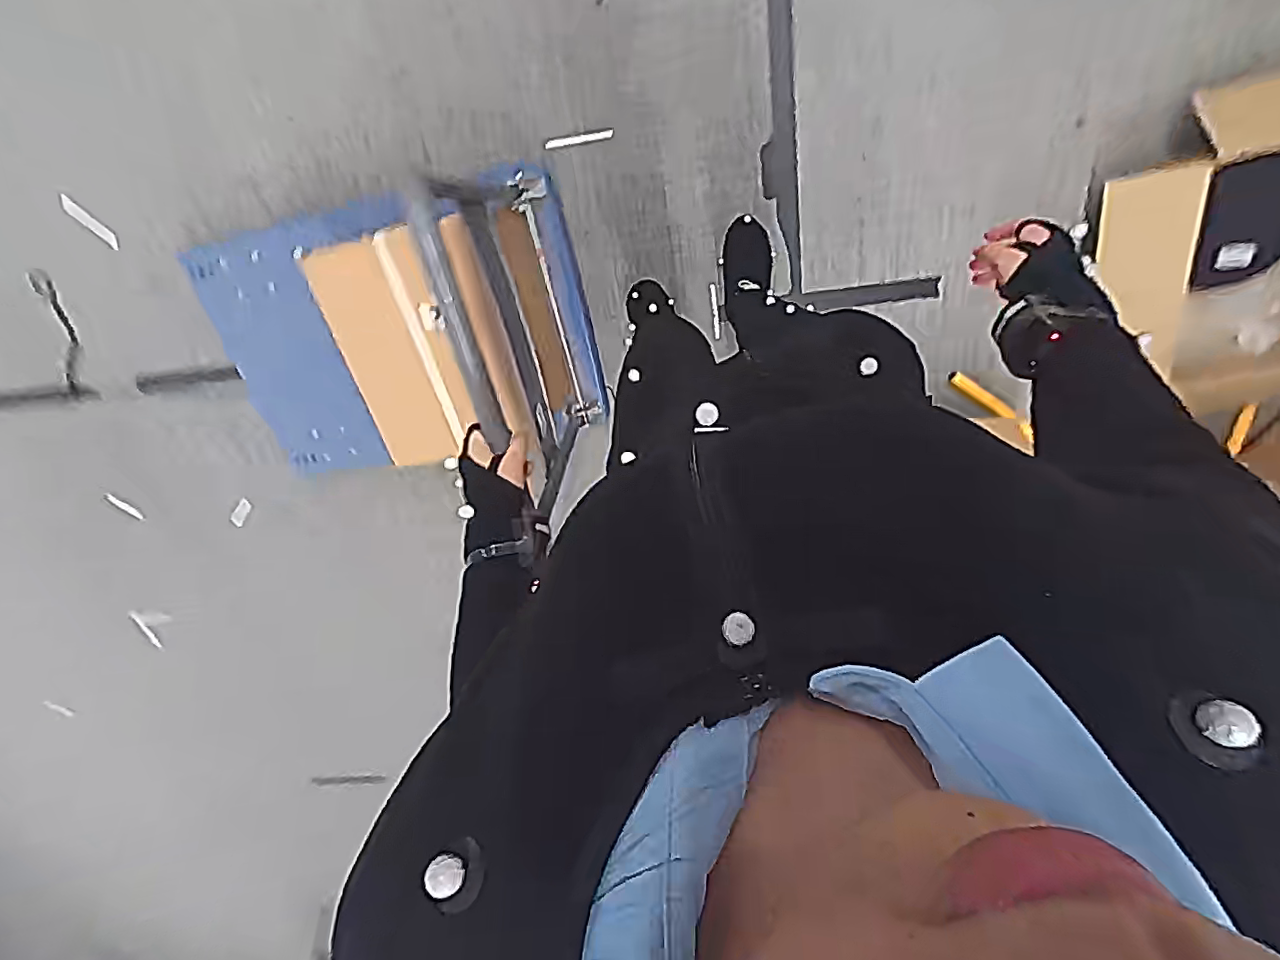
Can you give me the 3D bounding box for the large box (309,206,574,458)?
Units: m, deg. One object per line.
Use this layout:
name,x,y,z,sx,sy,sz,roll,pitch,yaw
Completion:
large box,-0.357,-0.305,1.103,0.320,0.320,0.408,-9,116,9
